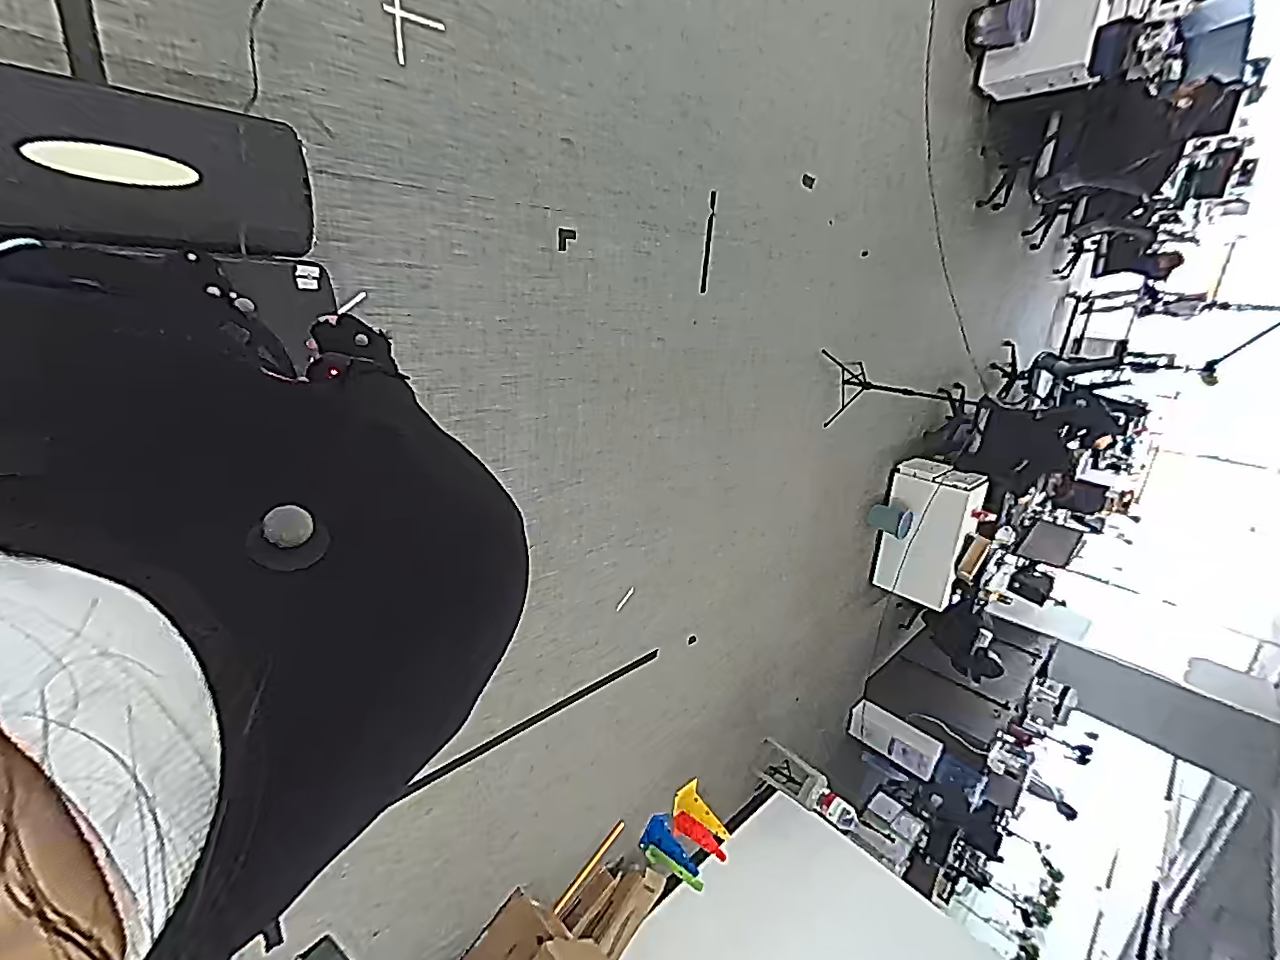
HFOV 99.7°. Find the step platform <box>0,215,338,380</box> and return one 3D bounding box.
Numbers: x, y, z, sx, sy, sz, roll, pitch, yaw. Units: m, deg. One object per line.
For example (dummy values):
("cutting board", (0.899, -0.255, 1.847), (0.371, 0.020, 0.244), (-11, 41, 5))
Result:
("step platform", (-1.018, -0.370, 1.123), (0.684, 0.204, 0.286), (-14, 115, -40))
